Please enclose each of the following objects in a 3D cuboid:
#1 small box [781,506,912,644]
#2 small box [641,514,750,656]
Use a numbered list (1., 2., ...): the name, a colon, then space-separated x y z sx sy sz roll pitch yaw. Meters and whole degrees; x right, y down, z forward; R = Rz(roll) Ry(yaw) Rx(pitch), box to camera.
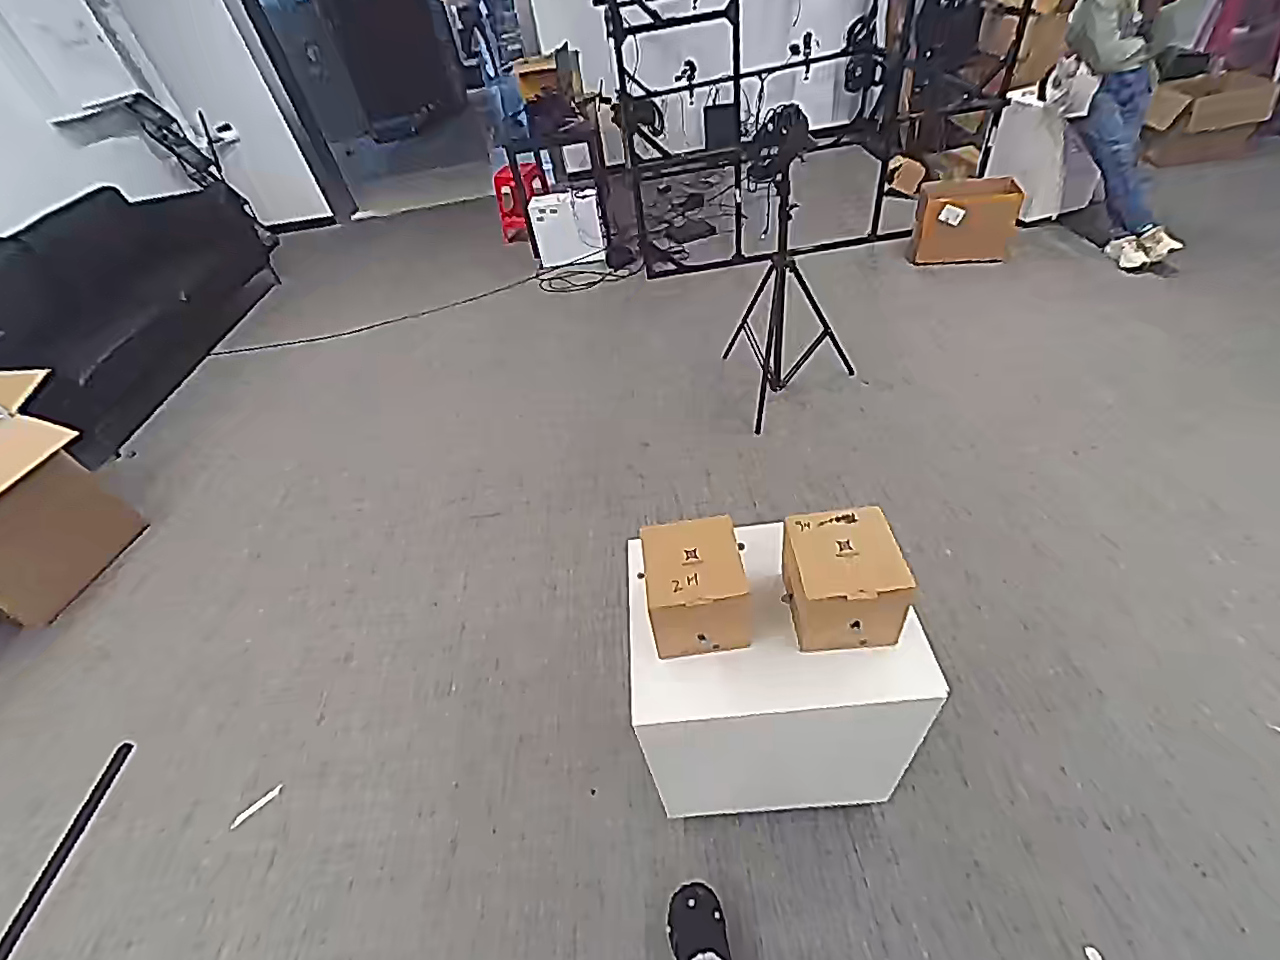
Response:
1. small box: 0.344 0.170 0.935 0.168 0.176 0.179 -6 45 5
2. small box: 0.097 0.188 0.966 0.168 0.176 0.179 -9 44 3
